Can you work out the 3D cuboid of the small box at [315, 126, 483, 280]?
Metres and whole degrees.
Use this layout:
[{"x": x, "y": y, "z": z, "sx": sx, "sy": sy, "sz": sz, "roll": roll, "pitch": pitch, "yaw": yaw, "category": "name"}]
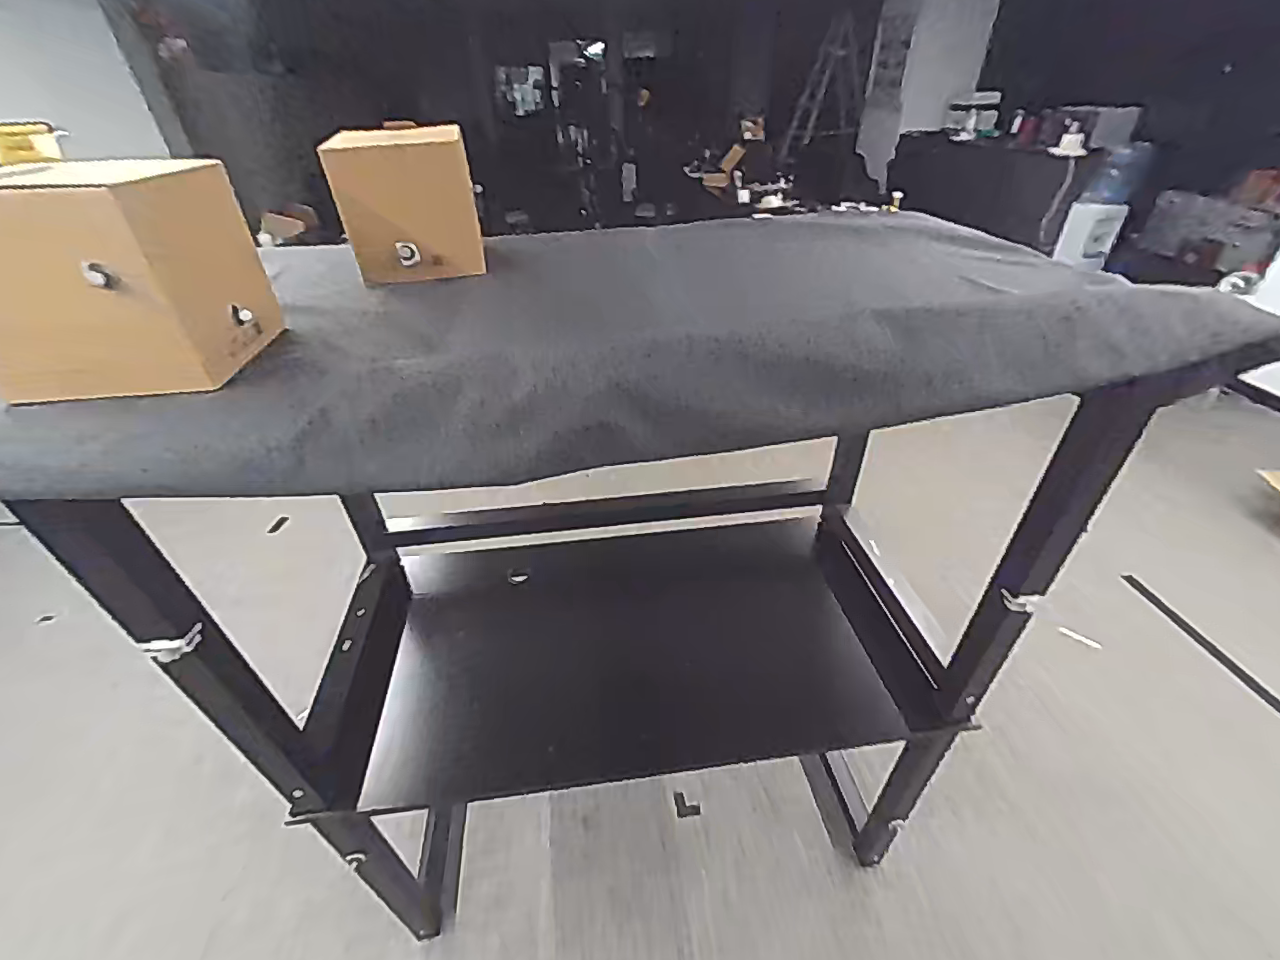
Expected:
[{"x": -0.324, "y": -0.394, "z": 0.766, "sx": 0.168, "sy": 0.176, "sz": 0.179, "roll": -11, "pitch": 37, "yaw": -10, "category": "small box"}]
